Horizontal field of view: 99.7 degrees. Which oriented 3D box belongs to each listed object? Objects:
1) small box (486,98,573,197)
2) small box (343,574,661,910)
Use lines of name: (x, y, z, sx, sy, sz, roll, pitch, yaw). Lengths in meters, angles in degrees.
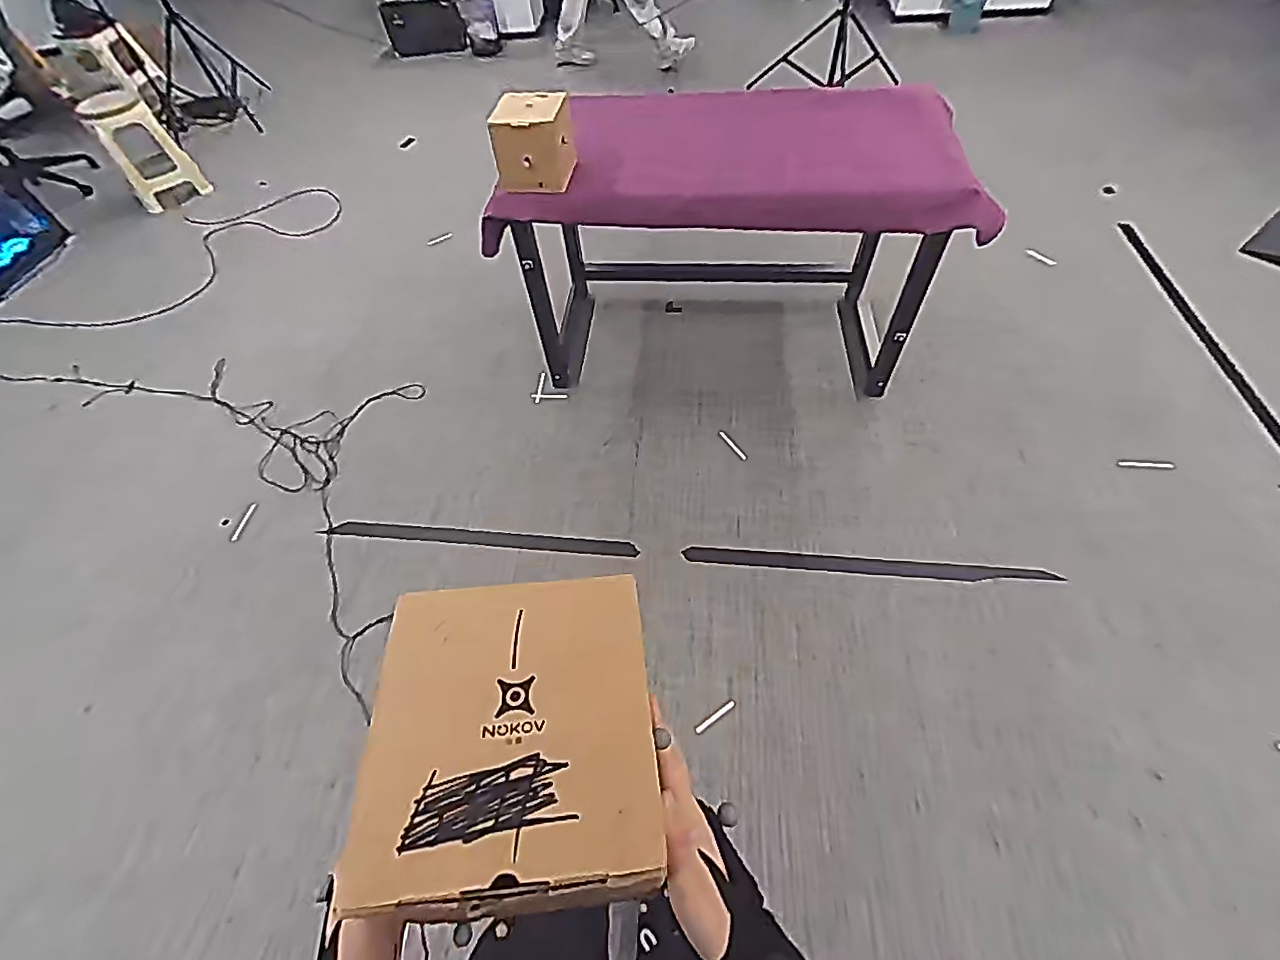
small box: (-0.275, -0.855, 1.398, 0.168, 0.176, 0.179, 4, 56, 6)
small box: (-0.075, 0.190, 0.387, 0.168, 0.176, 0.179, -4, 49, -4)
